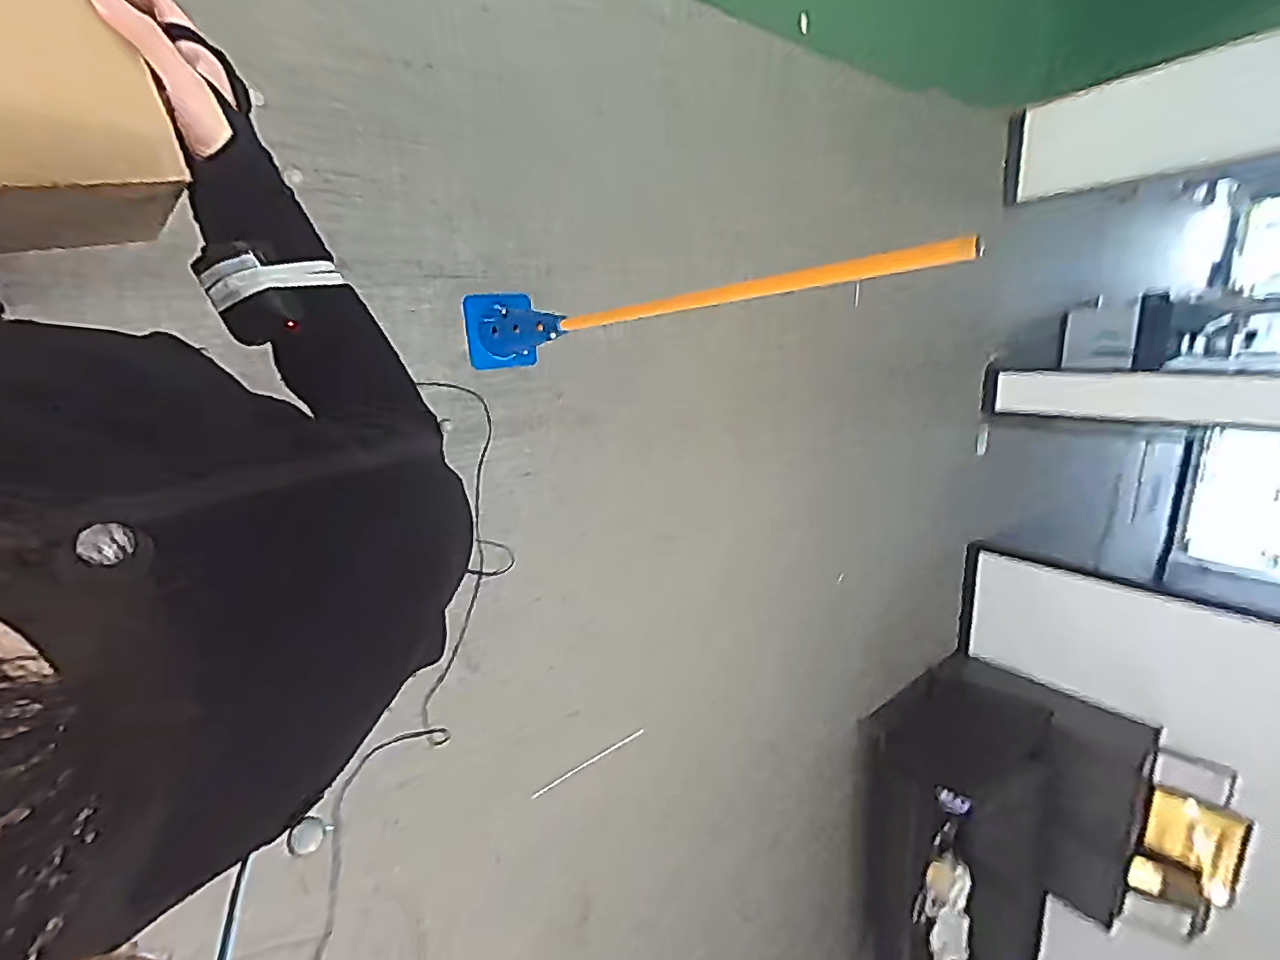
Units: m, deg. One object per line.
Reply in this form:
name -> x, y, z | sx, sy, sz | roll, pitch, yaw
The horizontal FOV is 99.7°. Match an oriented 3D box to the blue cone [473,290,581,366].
blue cone -> -0.266, -0.399, 1.382 | 0.193, 0.380, 0.192 | -19, 111, -35
